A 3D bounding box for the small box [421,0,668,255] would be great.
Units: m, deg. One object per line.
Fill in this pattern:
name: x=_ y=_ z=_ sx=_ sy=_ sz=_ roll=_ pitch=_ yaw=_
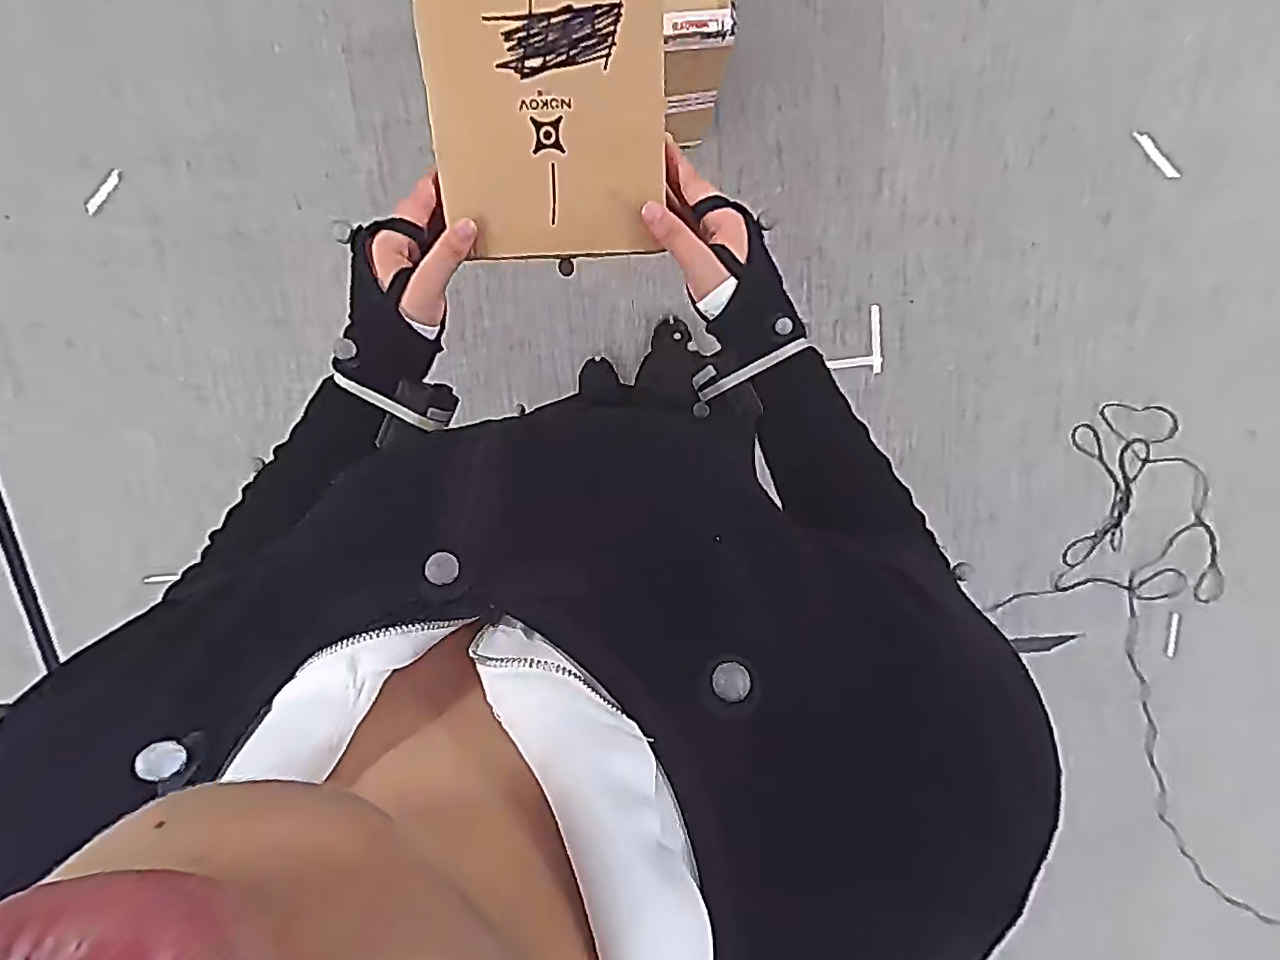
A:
small box: x=-0.065 y=-0.287 z=0.454 sx=0.168 sy=0.176 sz=0.179 roll=-2 pitch=112 yaw=-1
